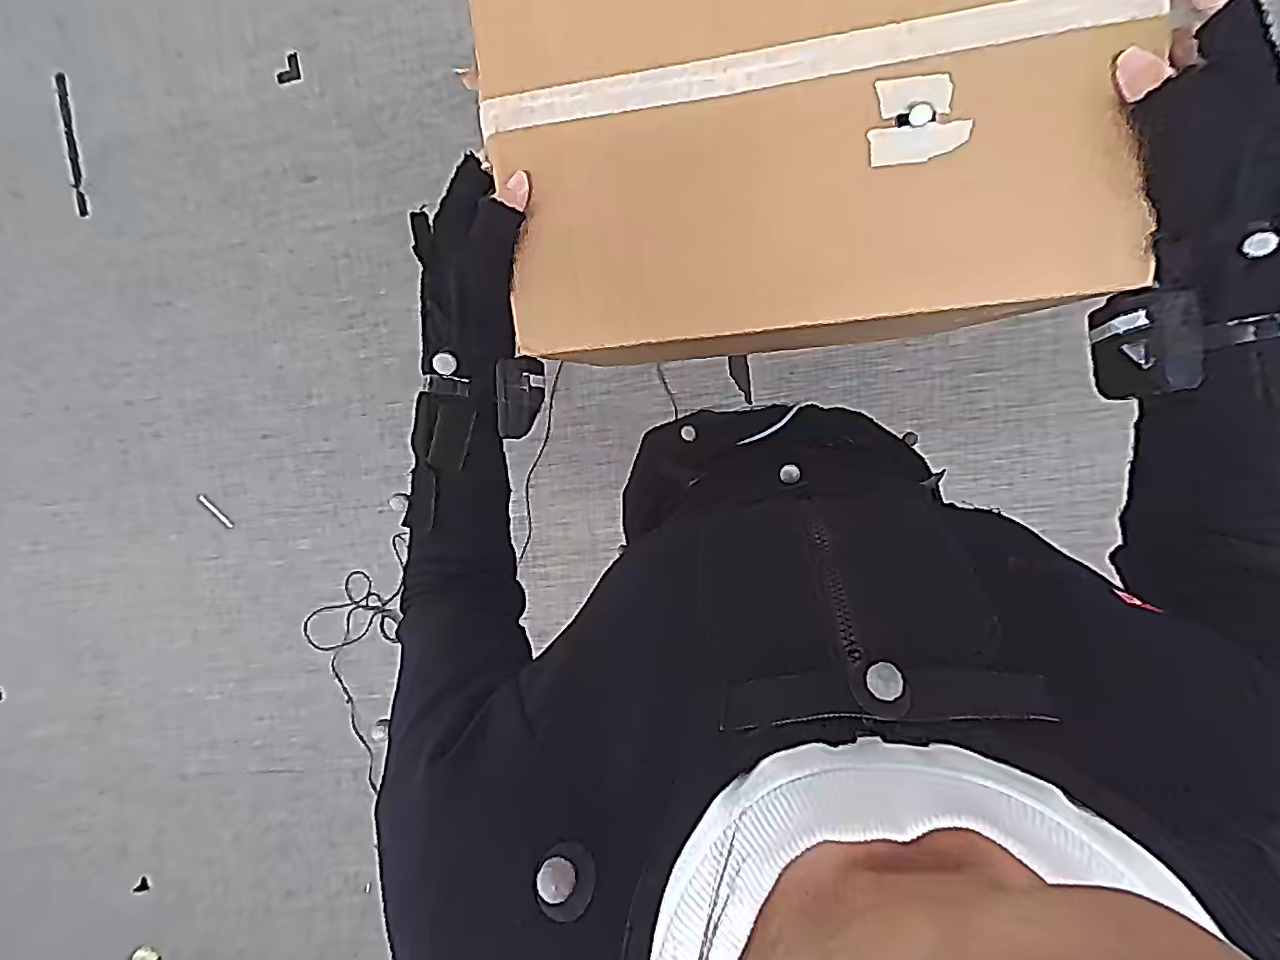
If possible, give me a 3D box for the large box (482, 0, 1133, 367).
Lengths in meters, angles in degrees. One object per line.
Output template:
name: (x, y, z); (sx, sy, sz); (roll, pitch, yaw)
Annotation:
large box: (0.113, -0.287, 0.494); (0.408, 0.320, 0.320); (-5, 100, 7)
